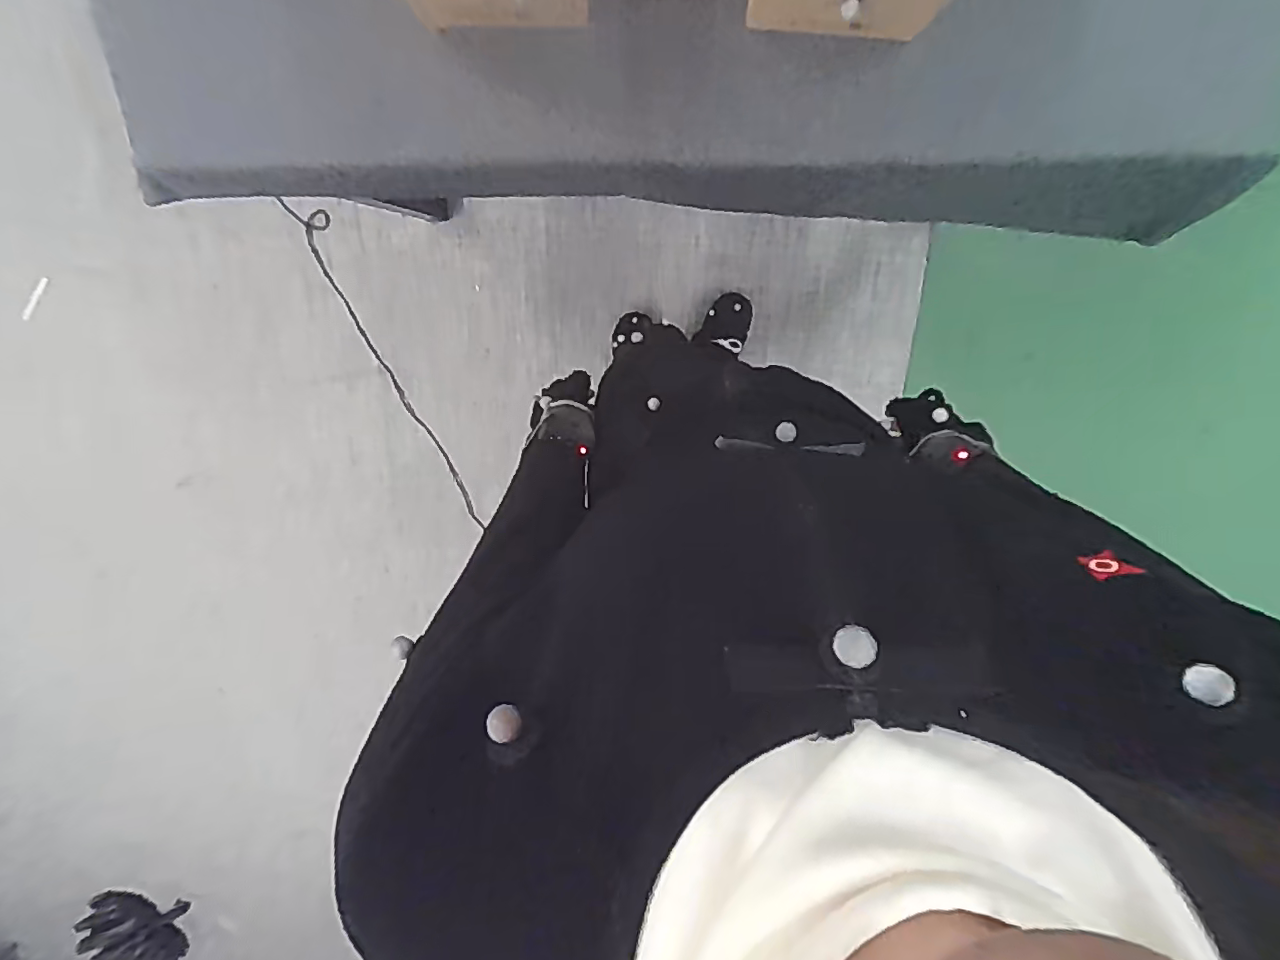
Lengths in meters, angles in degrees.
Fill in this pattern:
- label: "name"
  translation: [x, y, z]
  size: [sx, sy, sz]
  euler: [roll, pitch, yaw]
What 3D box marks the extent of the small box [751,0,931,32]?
- label: "small box"
  translation: [0.186, -0.498, 0.433]
  size: [0.168, 0.176, 0.179]
  euler: [5, 111, 2]
